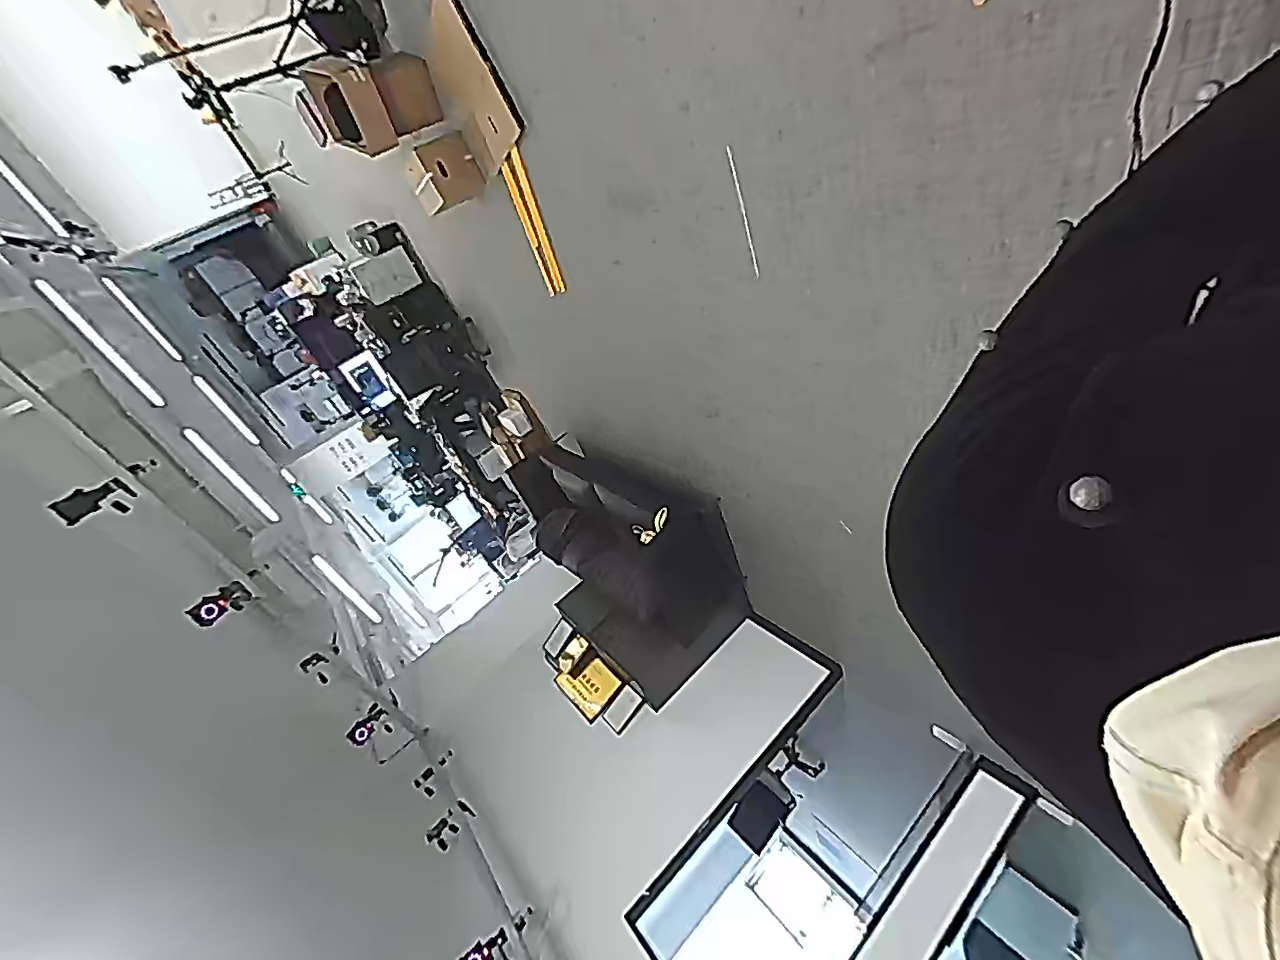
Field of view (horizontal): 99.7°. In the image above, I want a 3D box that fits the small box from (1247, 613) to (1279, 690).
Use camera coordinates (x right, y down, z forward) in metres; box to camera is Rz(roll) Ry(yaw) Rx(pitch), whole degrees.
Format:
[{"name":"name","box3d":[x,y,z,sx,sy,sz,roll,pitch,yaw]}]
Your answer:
[{"name":"small box","box3d":[1.732,0.449,1.390,0.168,0.176,0.179,28,149,47]}]
